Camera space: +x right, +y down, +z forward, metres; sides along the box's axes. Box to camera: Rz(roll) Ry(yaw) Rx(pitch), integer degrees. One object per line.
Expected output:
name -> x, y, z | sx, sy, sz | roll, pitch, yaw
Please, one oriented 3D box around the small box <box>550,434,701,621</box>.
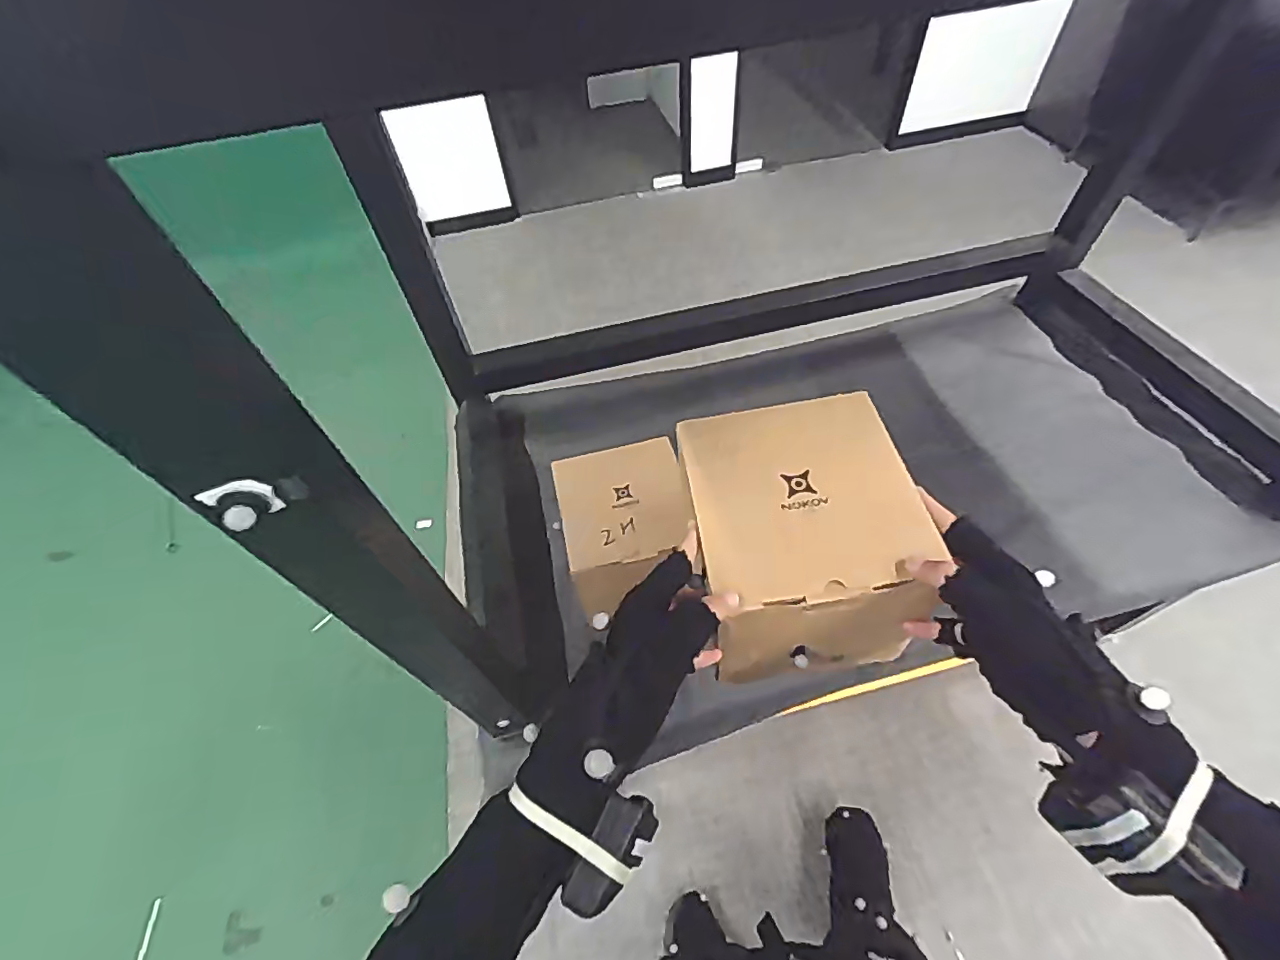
small box -> -0.021, 0.068, 0.748 | 0.168, 0.176, 0.179 | -14, 53, -5
